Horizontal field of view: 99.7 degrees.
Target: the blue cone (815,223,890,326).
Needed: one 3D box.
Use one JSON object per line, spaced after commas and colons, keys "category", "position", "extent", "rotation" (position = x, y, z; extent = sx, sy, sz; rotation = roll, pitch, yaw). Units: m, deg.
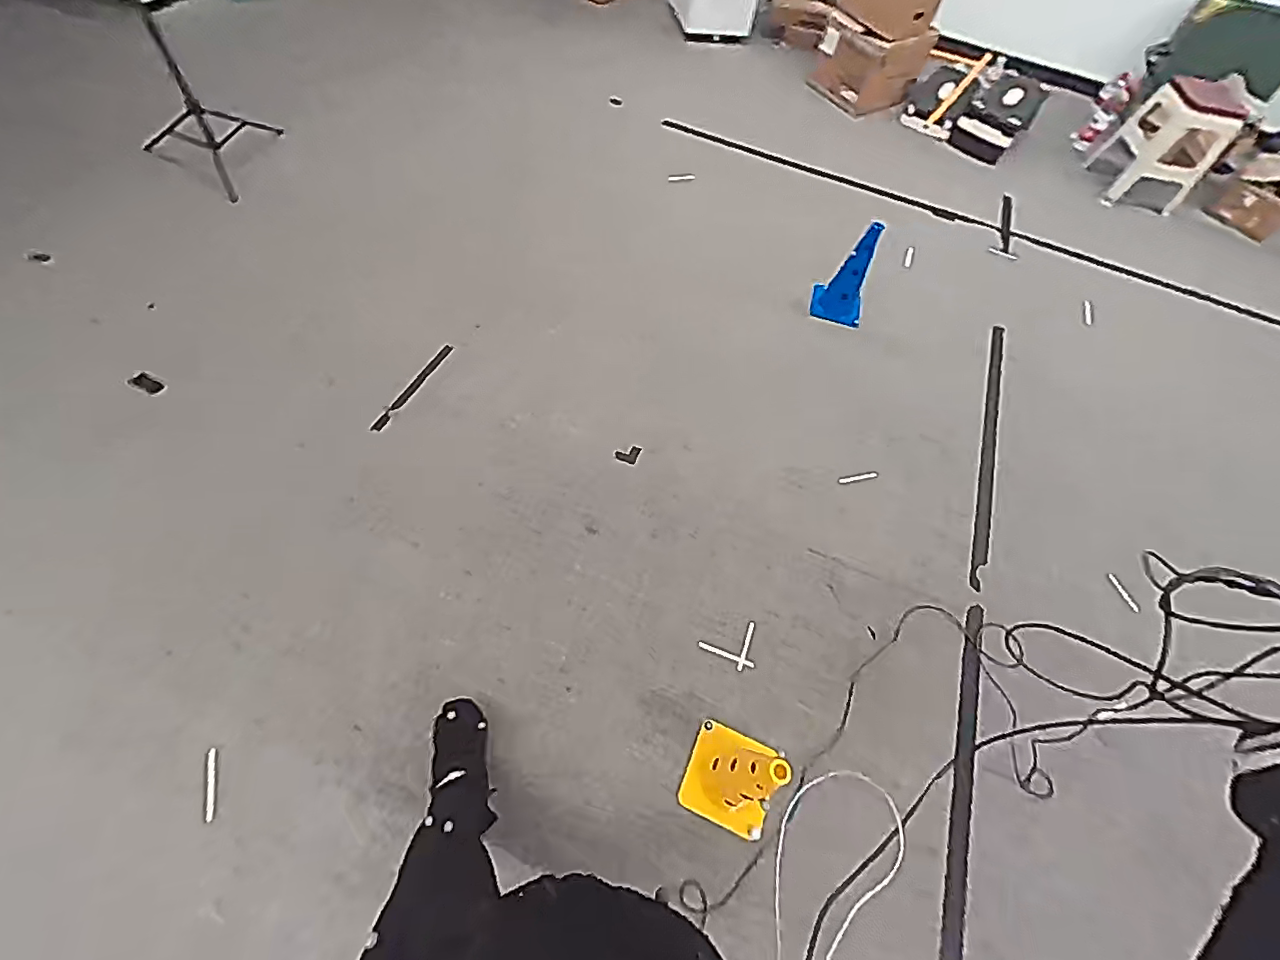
{"category": "blue cone", "position": [0.819, -0.786, 2.029], "extent": [0.192, 0.380, 0.193], "rotation": [18, 59, 3]}
